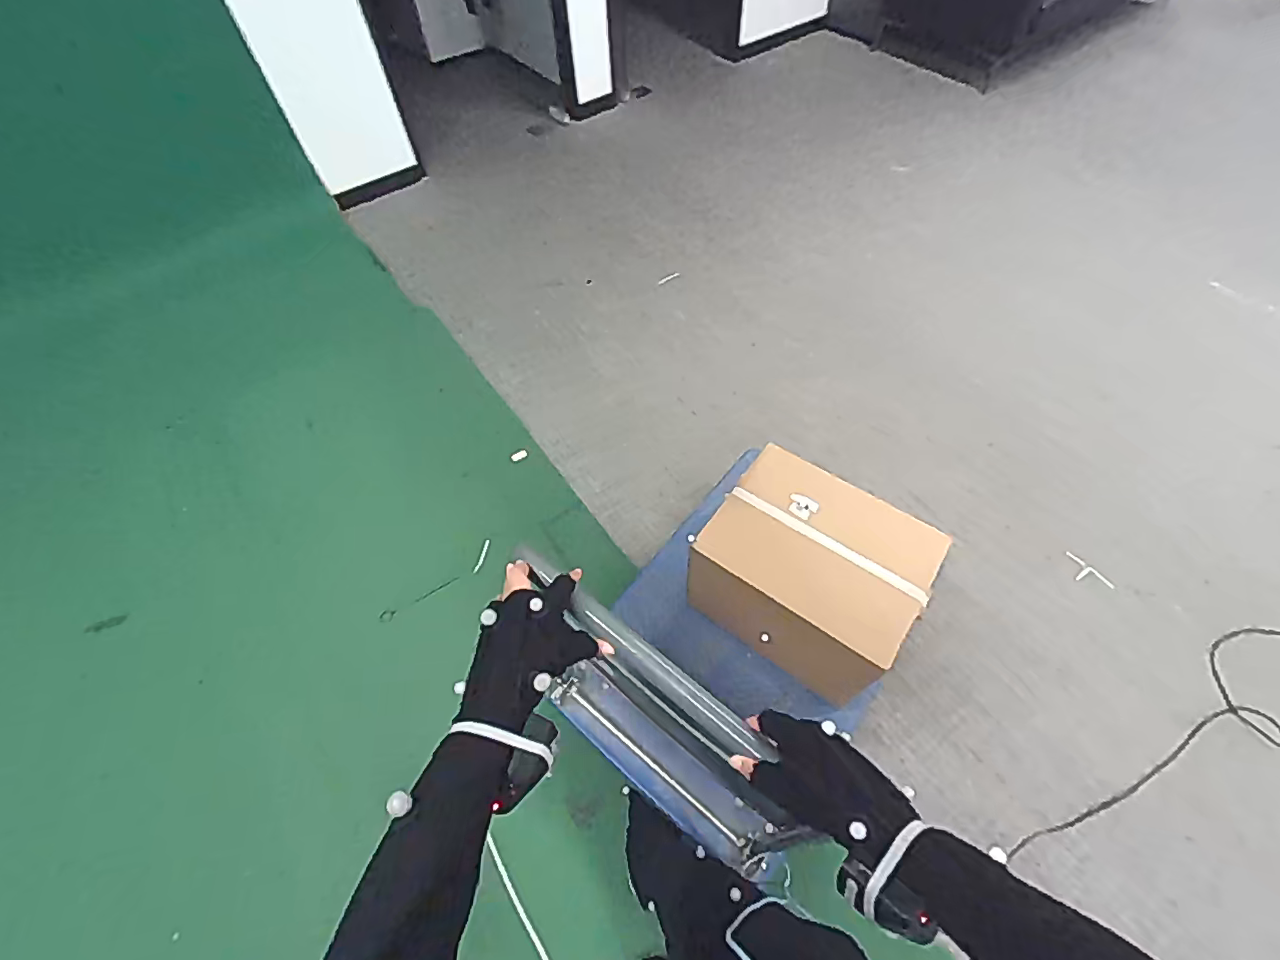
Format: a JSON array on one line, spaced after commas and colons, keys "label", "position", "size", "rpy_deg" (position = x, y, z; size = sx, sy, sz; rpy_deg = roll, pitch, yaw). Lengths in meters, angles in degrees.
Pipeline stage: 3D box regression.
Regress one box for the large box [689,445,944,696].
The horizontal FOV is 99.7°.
[{"label": "large box", "position": [0.355, 0.198, 1.179], "size": [0.408, 0.320, 0.320], "rpy_deg": [30, 63, 21]}]
